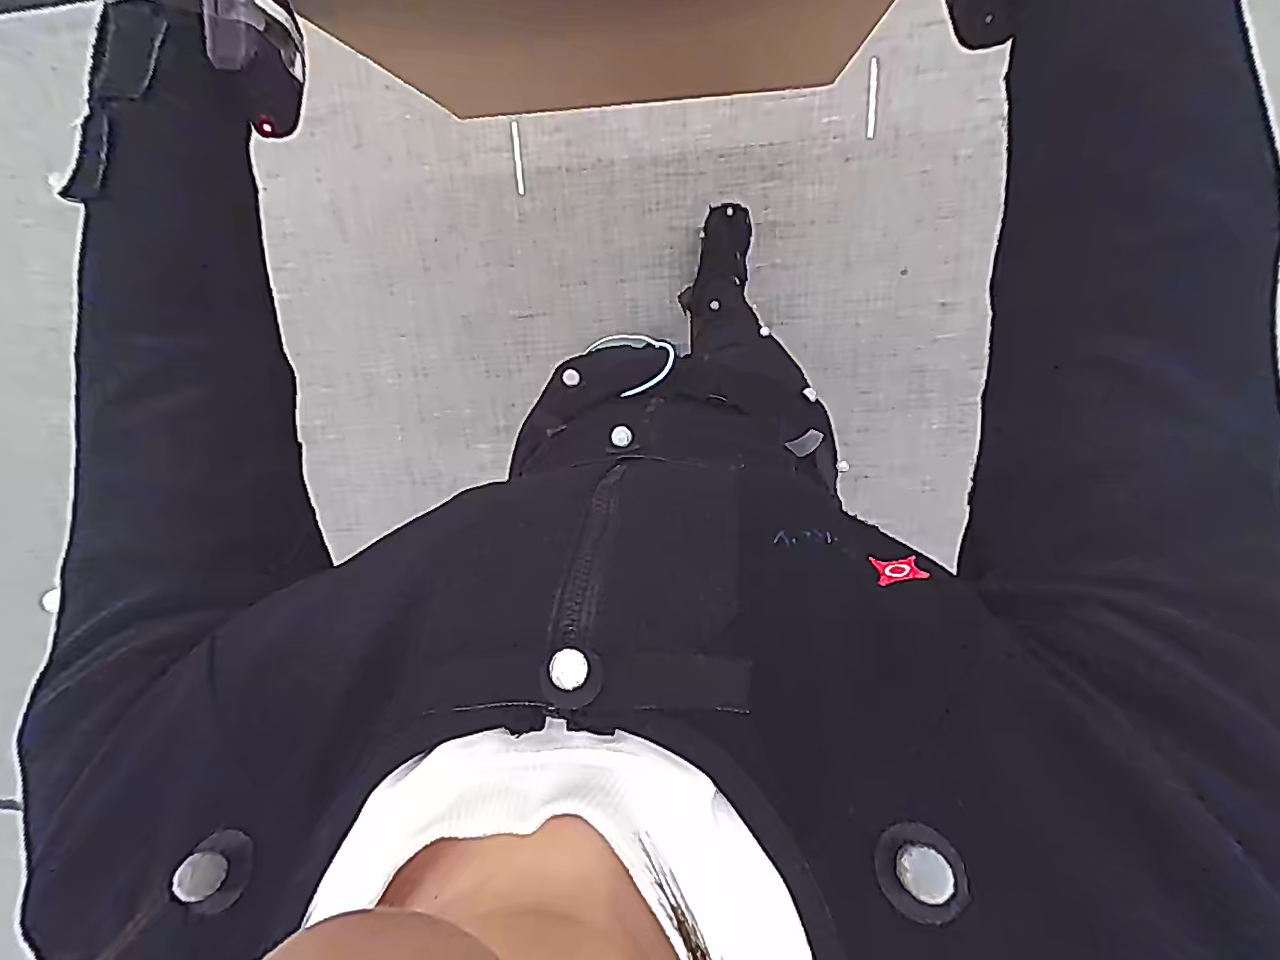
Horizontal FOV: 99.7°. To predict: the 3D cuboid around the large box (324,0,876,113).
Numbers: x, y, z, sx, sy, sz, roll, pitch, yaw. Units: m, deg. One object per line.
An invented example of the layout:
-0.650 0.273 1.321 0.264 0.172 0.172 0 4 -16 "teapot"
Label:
-0.021 -0.503 0.389 0.408 0.320 0.320 -2 111 5 "large box"
